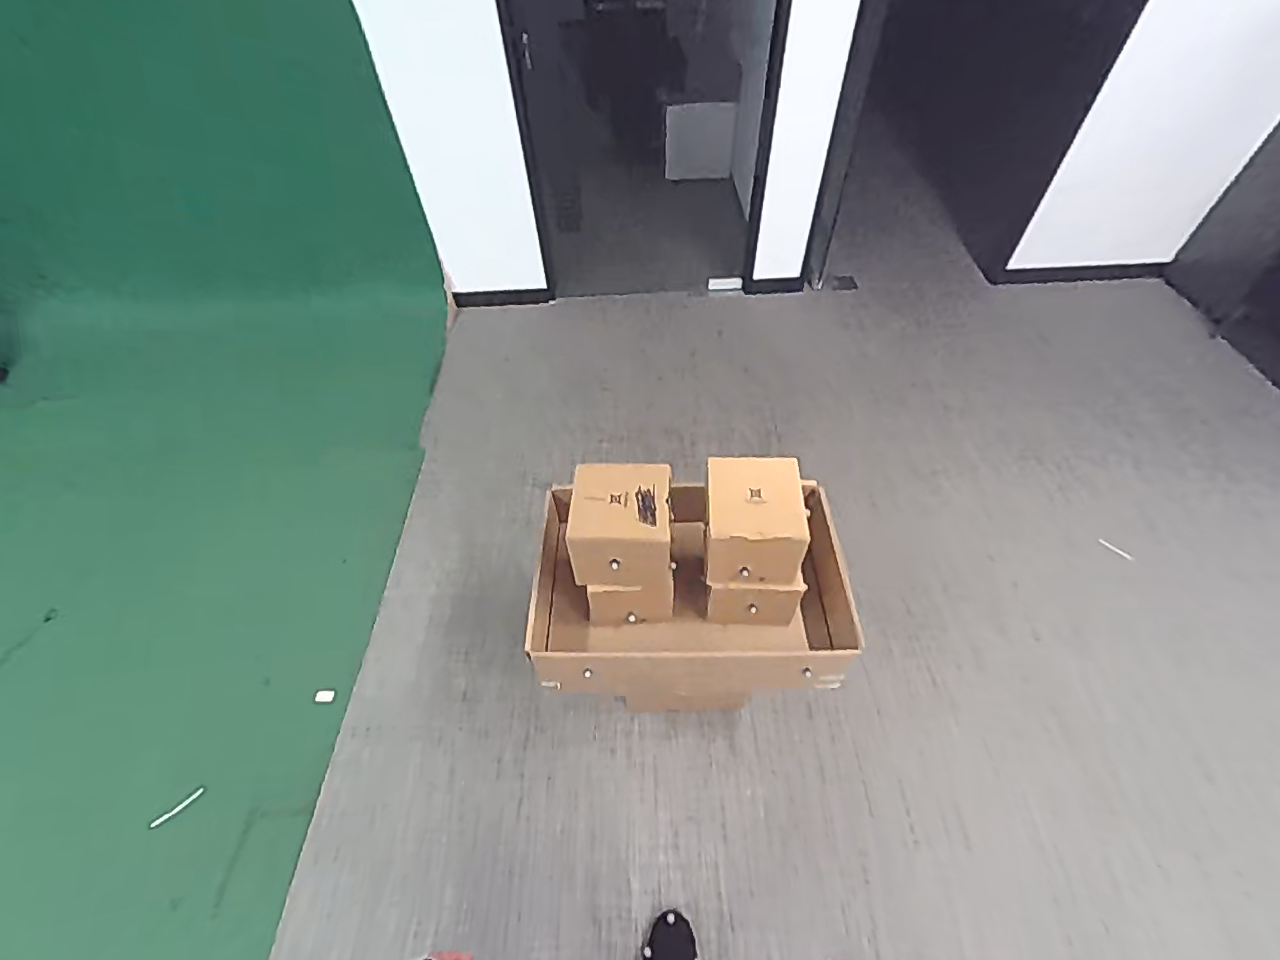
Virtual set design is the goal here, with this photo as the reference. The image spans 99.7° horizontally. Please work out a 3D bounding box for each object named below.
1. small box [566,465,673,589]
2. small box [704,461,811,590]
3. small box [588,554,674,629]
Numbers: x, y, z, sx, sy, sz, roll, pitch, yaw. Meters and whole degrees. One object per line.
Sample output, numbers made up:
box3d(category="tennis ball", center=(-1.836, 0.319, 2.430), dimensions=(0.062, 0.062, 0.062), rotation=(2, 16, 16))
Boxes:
box3d(category="small box", center=(-0.030, 0.091, 1.003), dimensions=(0.179, 0.176, 0.168), rotation=(1, 50, 3))
box3d(category="small box", center=(0.206, 0.084, 1.004), dimensions=(0.168, 0.176, 0.179), rotation=(1, 51, 4))
box3d(category="small box", center=(-0.021, 0.194, 1.130), dimensions=(0.168, 0.176, 0.179), rotation=(-3, 51, -1))
